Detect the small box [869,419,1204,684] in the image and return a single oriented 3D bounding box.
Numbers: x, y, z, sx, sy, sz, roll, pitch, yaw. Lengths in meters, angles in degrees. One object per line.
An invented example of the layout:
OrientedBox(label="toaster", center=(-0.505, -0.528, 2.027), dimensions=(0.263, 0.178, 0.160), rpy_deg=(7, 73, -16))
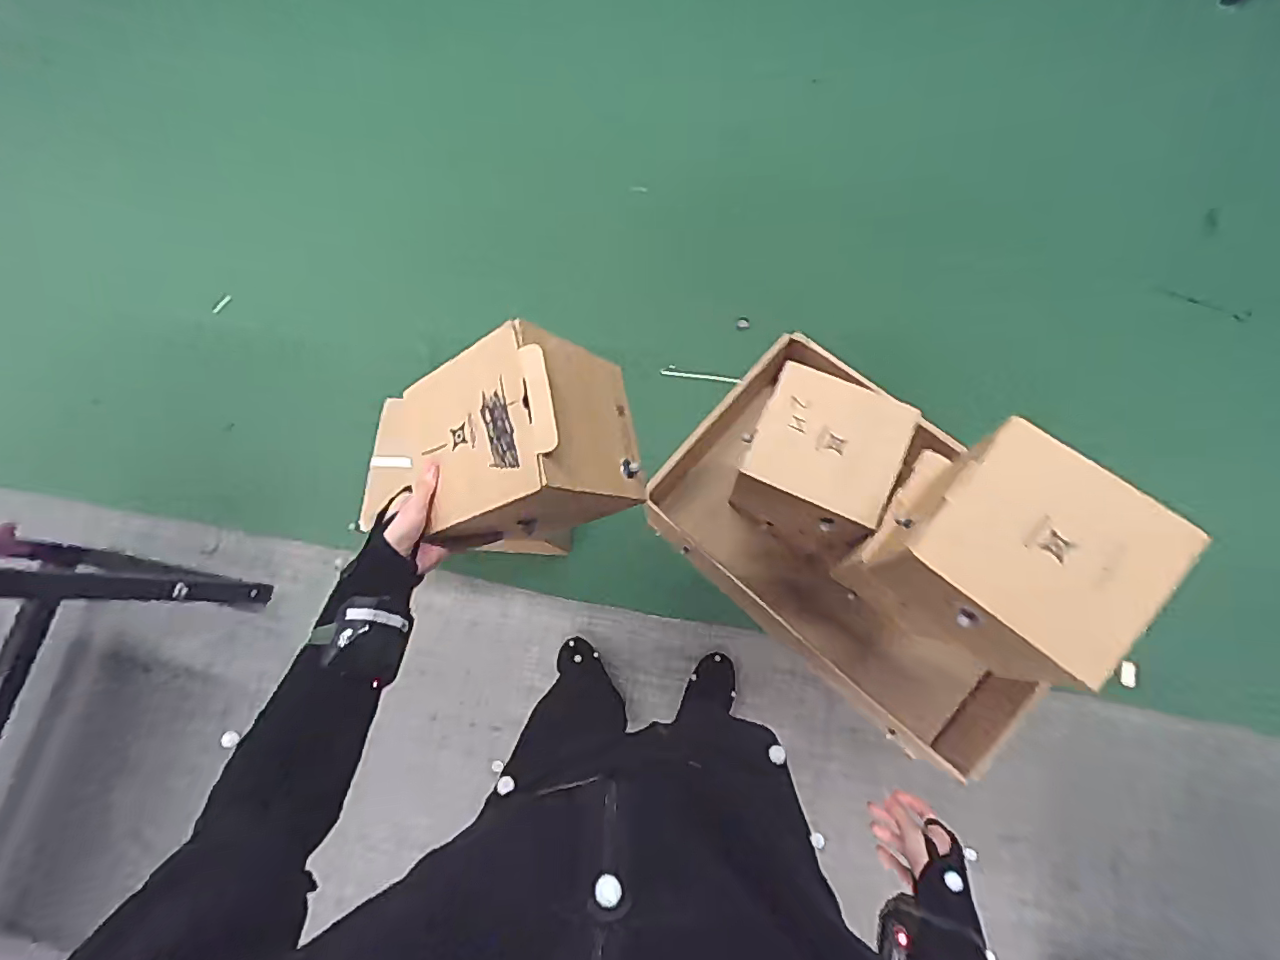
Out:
OrientedBox(label="small box", center=(0.360, 0.077, 0.536), dimensions=(0.179, 0.176, 0.168), rpy_deg=(41, 84, 17))

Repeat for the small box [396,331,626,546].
OrientedBox(label="small box", center=(-0.132, -0.029, 0.591), dimensions=(0.179, 0.176, 0.168), rpy_deg=(-23, 71, 29))
